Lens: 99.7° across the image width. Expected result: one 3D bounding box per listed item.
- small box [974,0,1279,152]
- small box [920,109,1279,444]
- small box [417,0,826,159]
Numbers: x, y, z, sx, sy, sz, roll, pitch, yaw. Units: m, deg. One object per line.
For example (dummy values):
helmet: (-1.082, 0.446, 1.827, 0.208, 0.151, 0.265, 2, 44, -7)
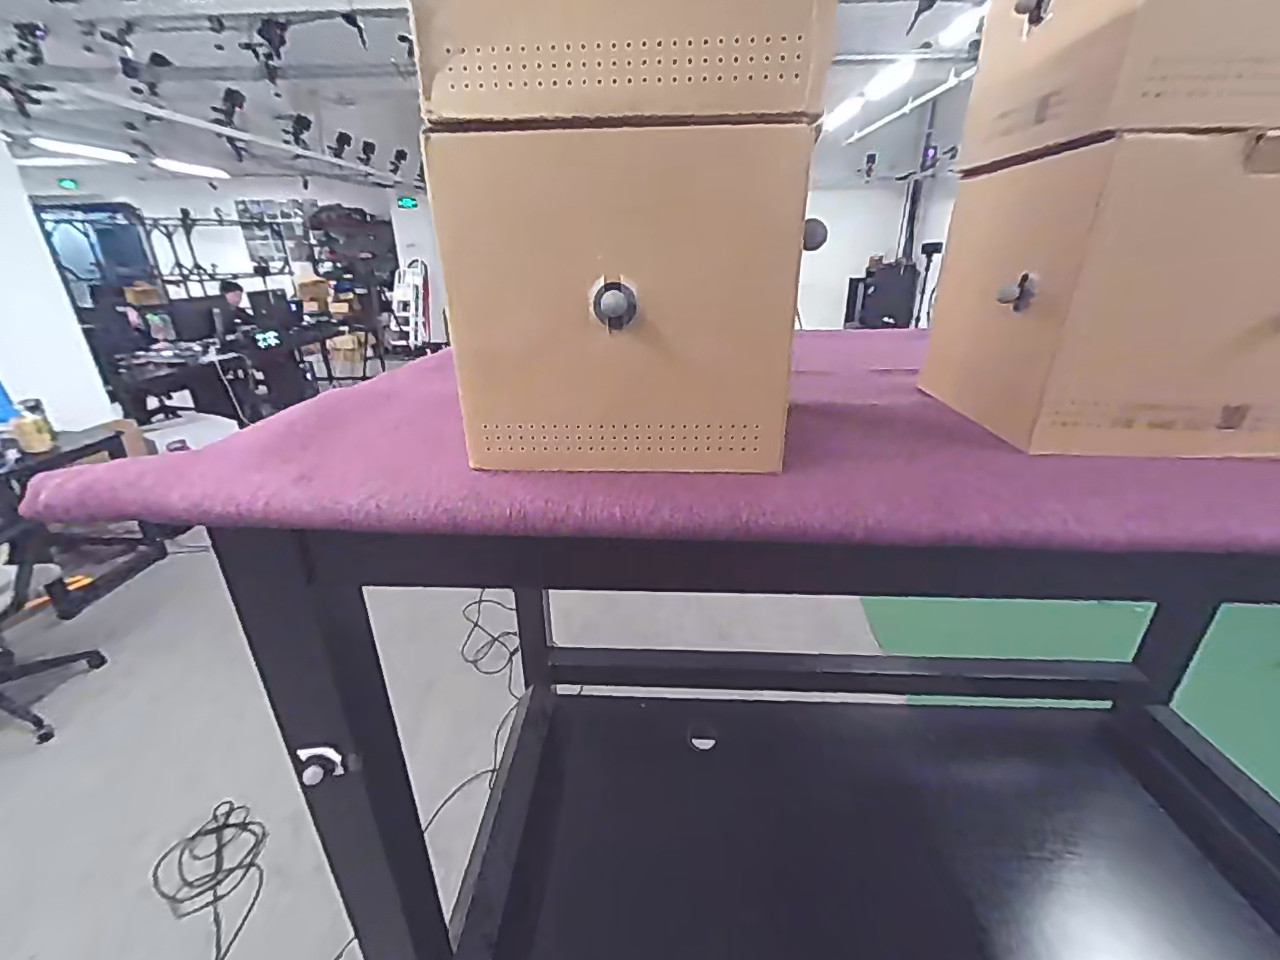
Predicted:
small box: (0.312, -0.279, 0.292, 0.179, 0.176, 0.168, 2, 24, 4)
small box: (0.313, -0.127, 0.356, 0.168, 0.176, 0.179, 2, 23, 4)
small box: (-0.007, -0.267, 0.269, 0.179, 0.176, 0.168, -1, 24, 2)
